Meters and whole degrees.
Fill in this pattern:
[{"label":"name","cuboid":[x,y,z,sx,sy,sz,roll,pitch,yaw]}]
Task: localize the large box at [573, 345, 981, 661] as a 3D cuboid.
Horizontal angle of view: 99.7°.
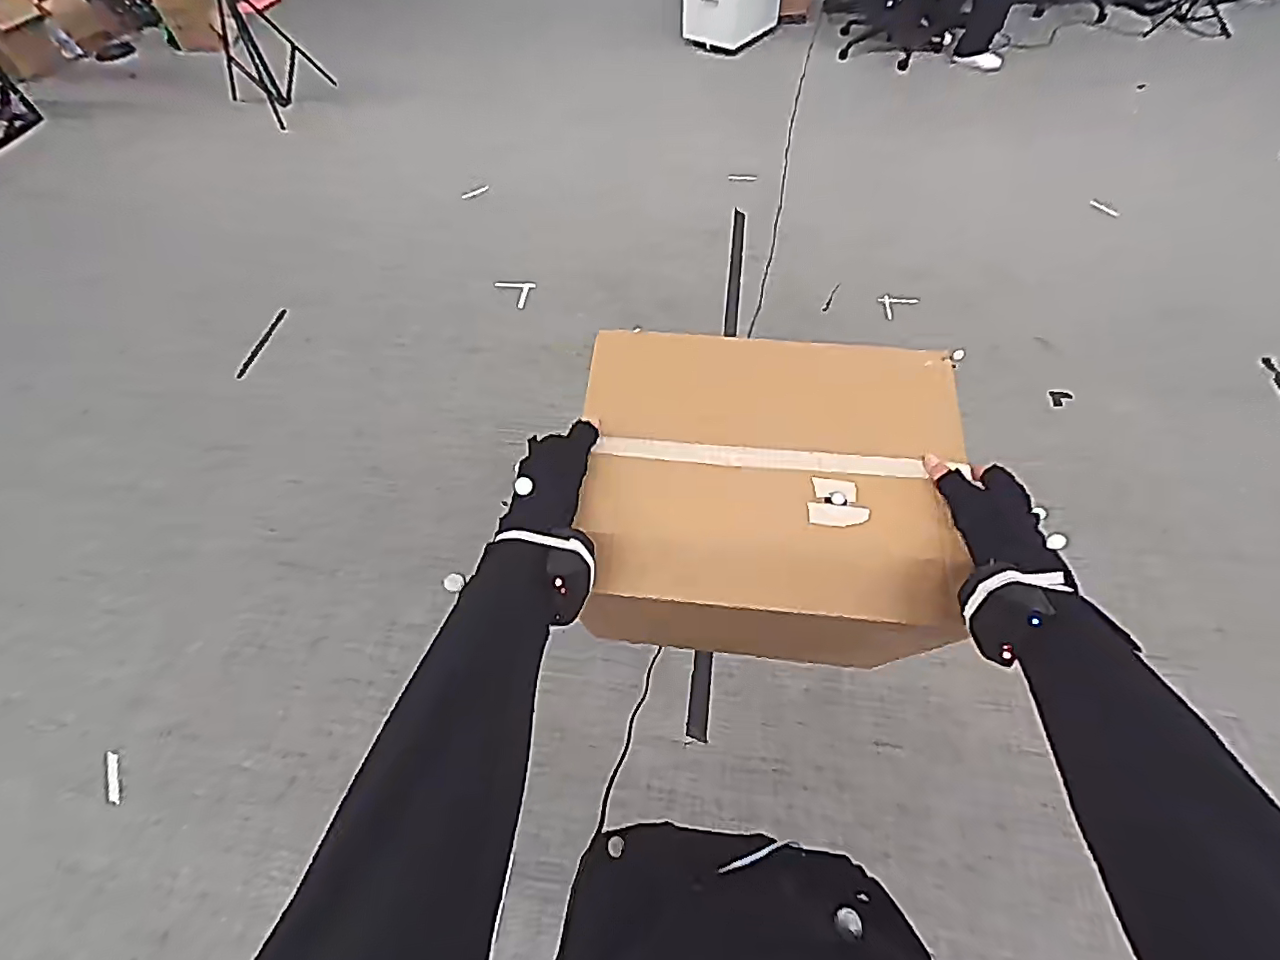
[{"label":"large box","cuboid":[0.144,0.049,0.719,0.408,0.320,0.320,5,67,4]}]
